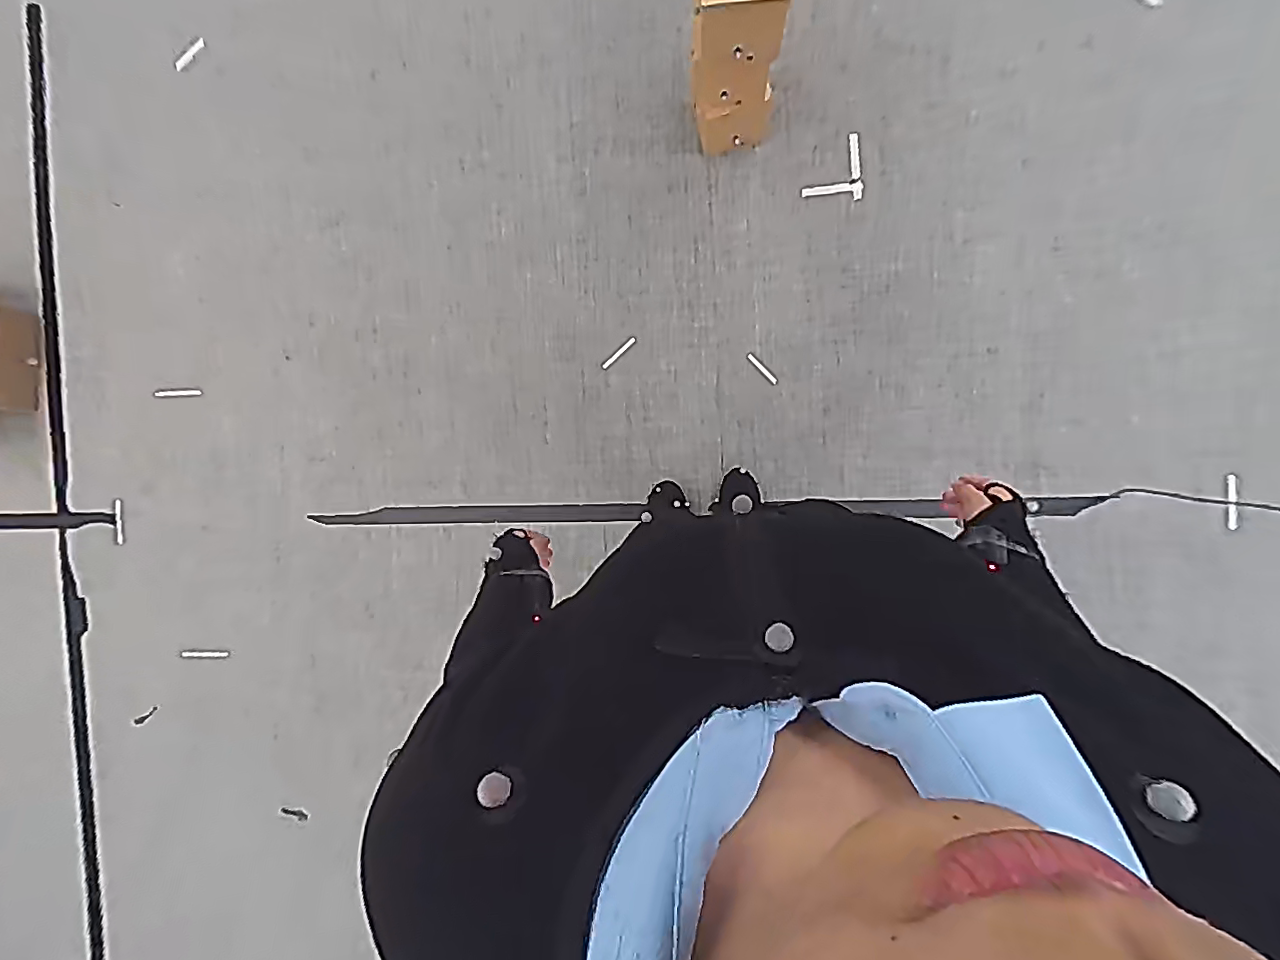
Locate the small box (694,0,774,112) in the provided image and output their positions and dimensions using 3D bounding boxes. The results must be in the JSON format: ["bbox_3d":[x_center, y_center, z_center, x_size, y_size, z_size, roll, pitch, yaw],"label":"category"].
[{"bbox_3d":[0.207,-0.979,1.224,0.168,0.176,0.179,-2,91,6],"label":"small box"}]

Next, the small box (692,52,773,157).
[{"bbox_3d":[0.230,-0.976,1.386,0.168,0.176,0.179,-14,90,6],"label":"small box"}]
